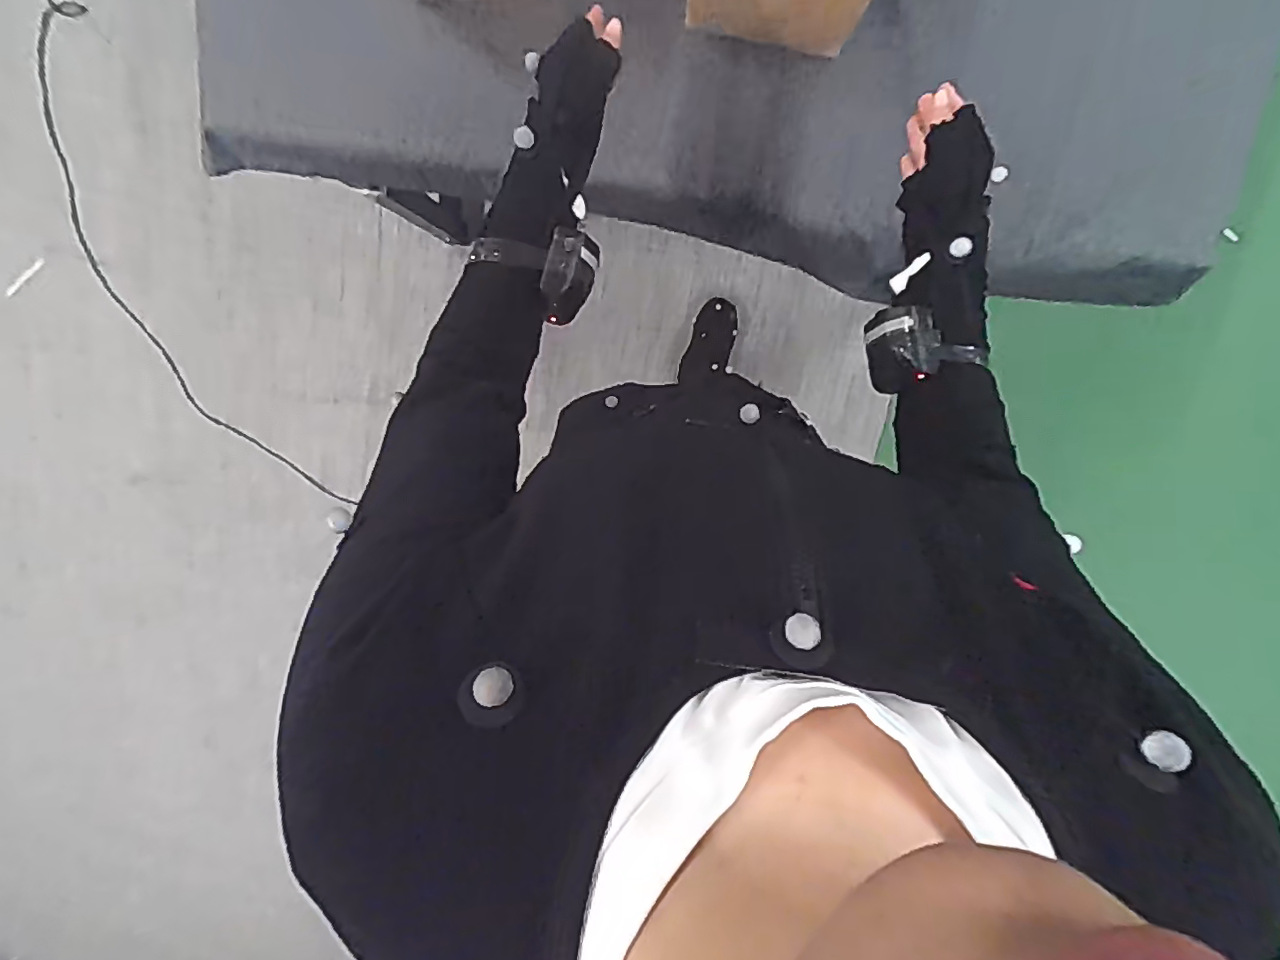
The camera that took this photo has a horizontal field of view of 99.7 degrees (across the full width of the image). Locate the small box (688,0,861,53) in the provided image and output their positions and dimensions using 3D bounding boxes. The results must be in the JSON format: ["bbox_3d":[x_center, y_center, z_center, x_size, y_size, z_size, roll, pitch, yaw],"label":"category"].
[{"bbox_3d":[0.147,-0.552,0.513,0.179,0.176,0.168,10,102,-2],"label":"small box"}]
